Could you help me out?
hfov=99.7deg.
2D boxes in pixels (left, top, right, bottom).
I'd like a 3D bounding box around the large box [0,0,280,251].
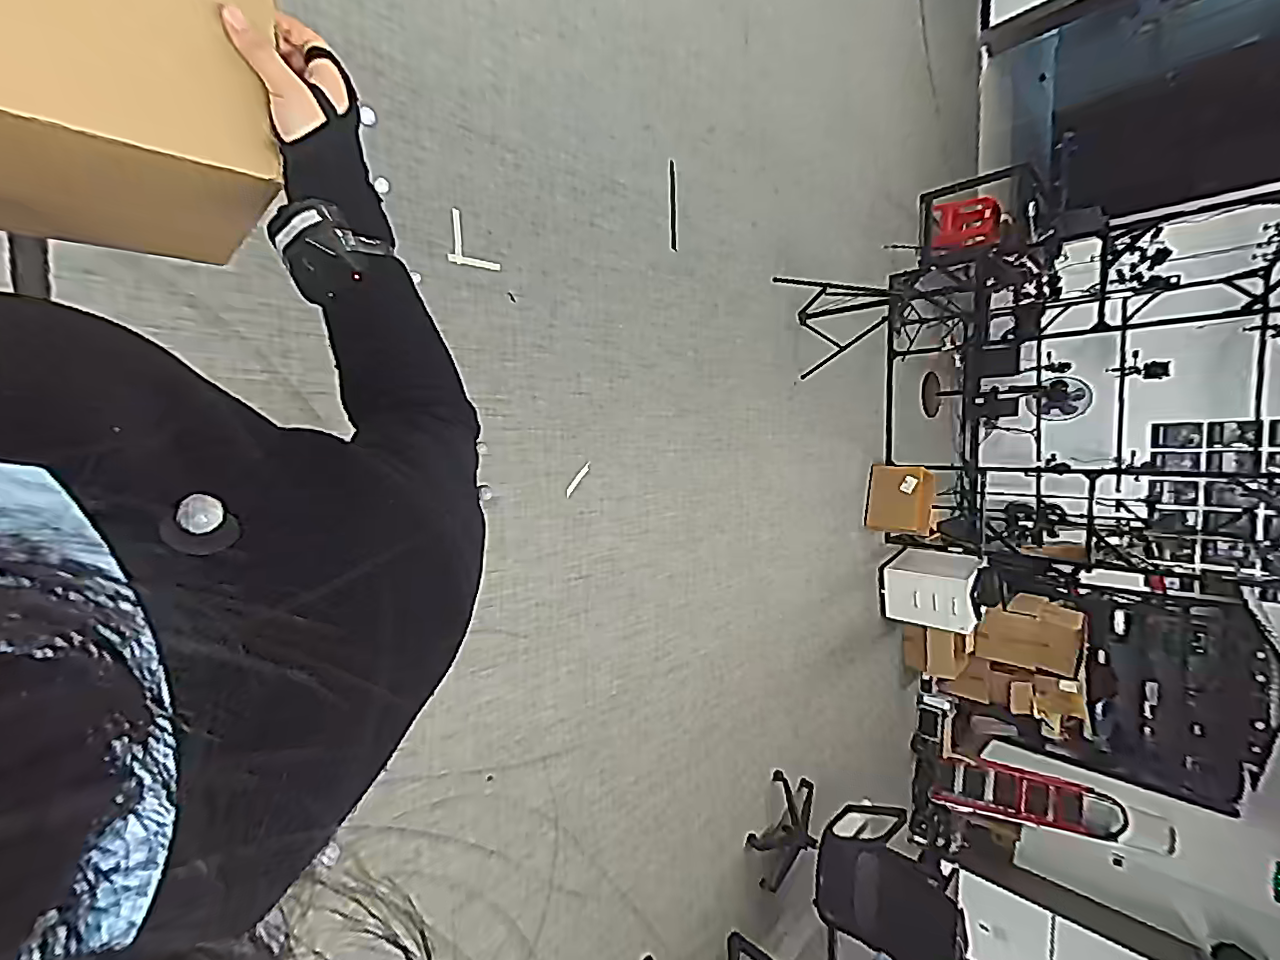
[{"bbox_3d":[-0.535,-0.389,0.388,0.408,0.320,0.320,-6,98,-44],"label":"large box"}]
